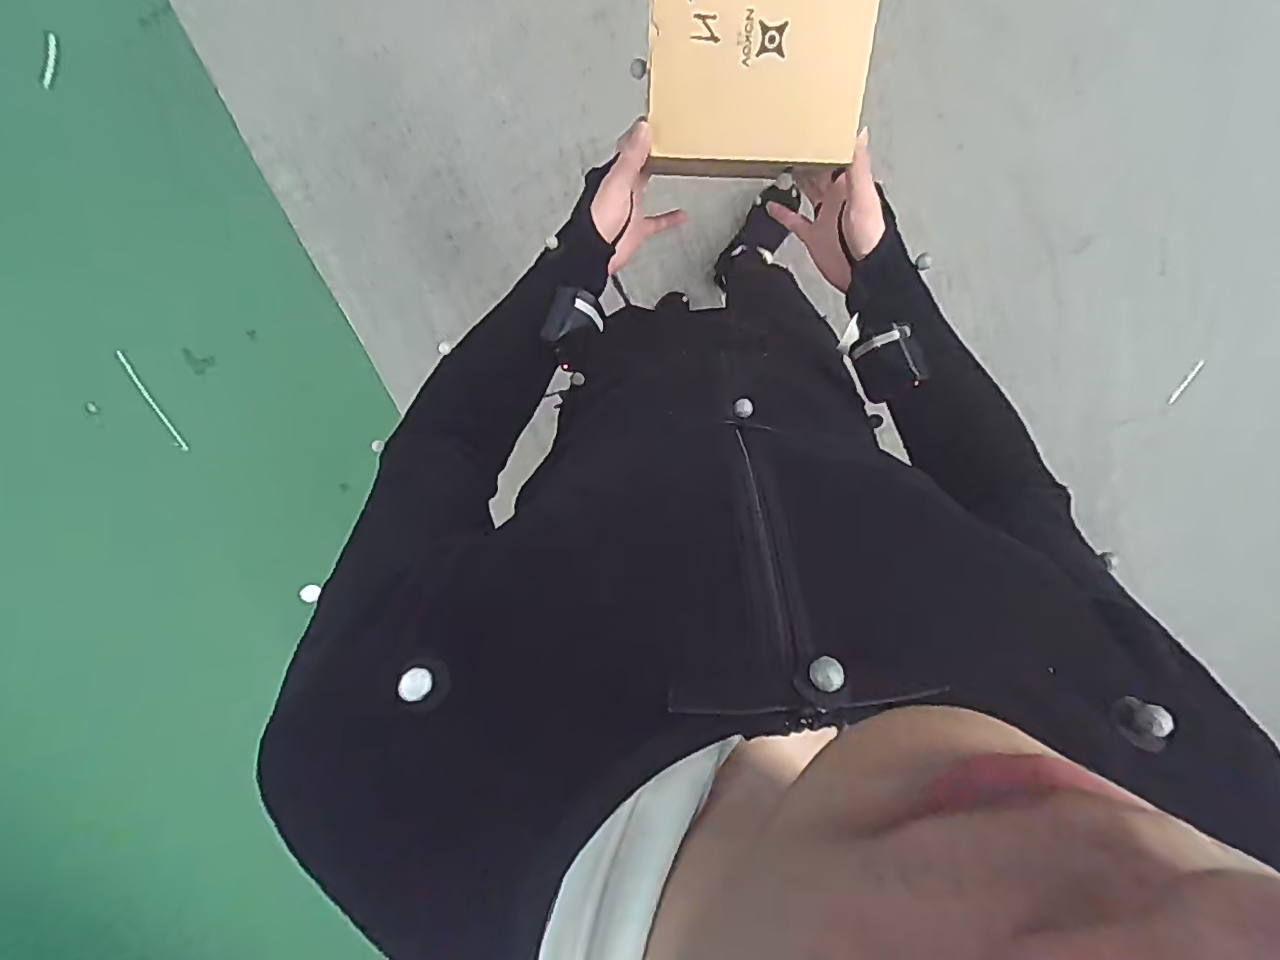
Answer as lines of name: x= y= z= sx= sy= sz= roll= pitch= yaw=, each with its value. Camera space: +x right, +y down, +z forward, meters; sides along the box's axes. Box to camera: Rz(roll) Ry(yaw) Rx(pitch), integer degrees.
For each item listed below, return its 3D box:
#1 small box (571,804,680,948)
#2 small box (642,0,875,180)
small box: x=-0.025 y=0.827 z=1.139 sx=0.179 sy=0.176 sz=0.168 roll=-21 pitch=110 yaw=8
small box: x=0.092 y=-0.377 z=0.494 sx=0.179 sy=0.176 sz=0.168 roll=2 pitch=115 yaw=1
